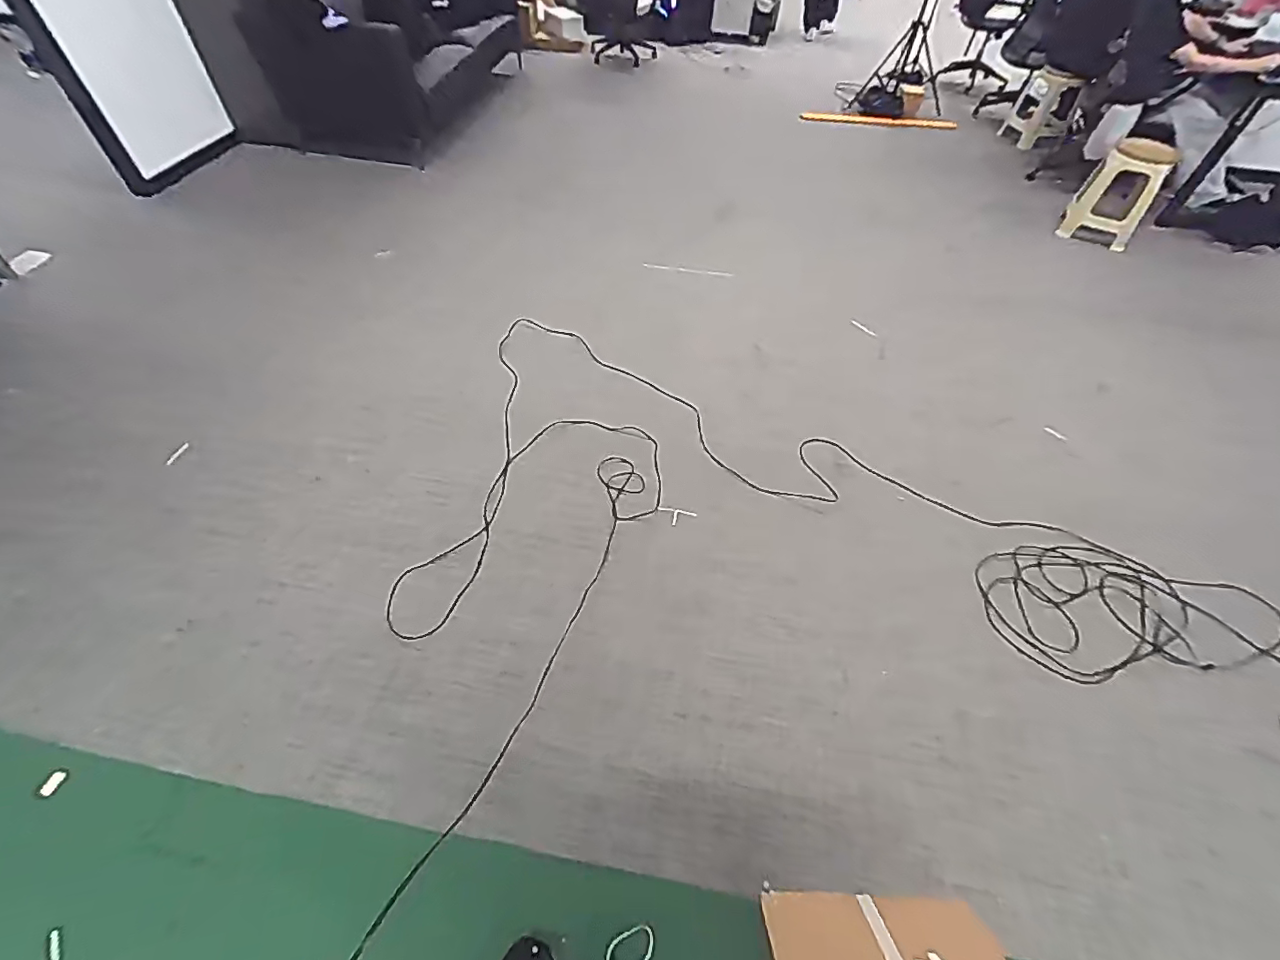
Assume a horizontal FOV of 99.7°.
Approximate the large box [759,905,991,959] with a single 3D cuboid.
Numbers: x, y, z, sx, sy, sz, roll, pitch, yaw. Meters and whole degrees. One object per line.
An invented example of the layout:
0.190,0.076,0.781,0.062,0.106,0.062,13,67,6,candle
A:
0.331,0.814,0.635,0.320,0.408,0.320,2,90,2,large box
